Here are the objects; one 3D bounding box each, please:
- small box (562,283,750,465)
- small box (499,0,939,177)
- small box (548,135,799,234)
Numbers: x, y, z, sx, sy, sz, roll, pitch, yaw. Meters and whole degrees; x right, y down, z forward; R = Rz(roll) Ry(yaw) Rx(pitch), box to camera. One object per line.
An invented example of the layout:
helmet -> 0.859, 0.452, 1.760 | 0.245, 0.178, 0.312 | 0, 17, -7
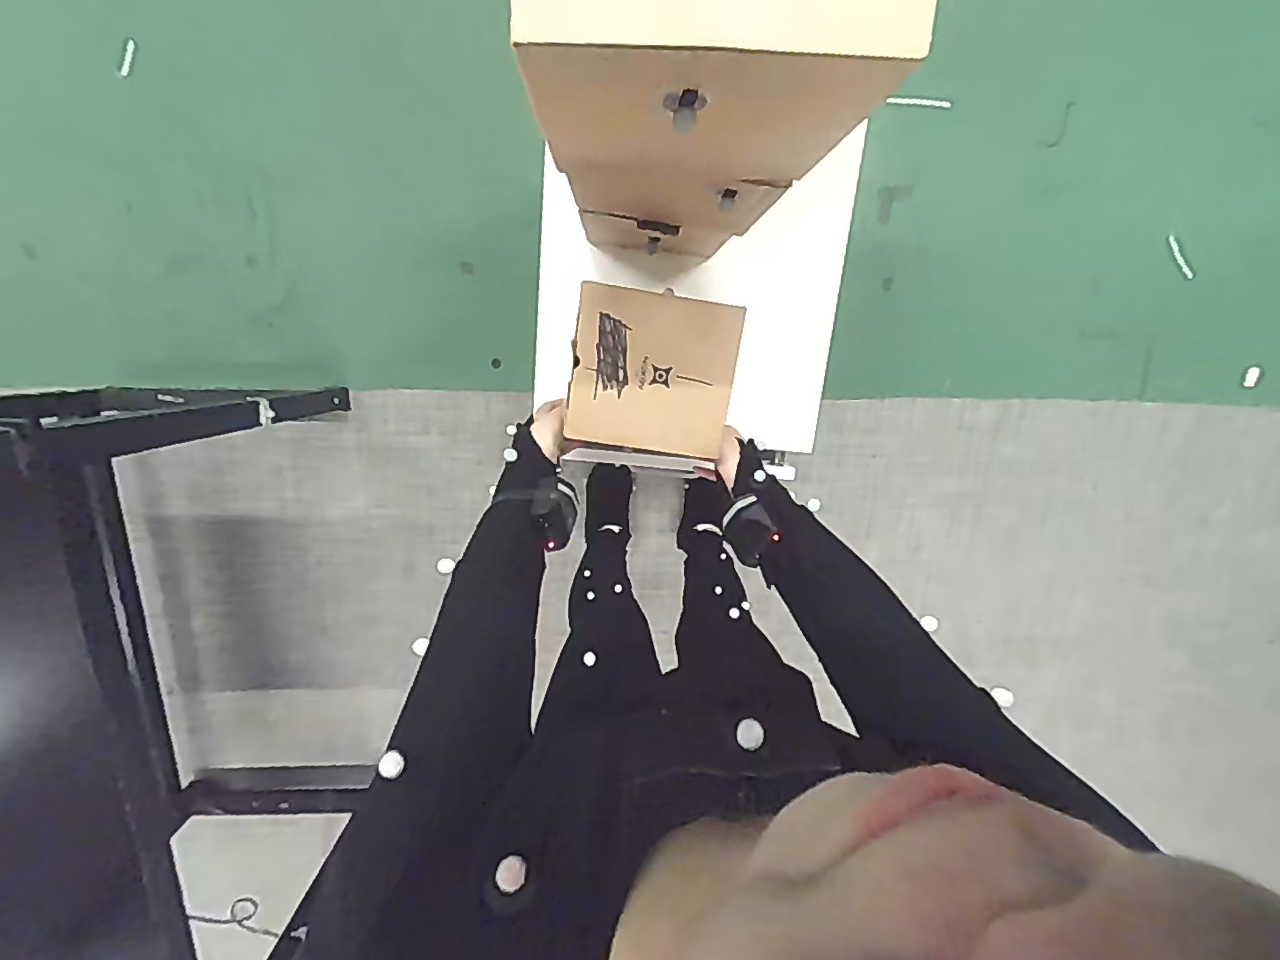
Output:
small box -> 0.013, -0.123, 0.641 | 0.179, 0.176, 0.168 | 8, 102, -4
small box -> 0.031, -0.269, 0.275 | 0.179, 0.176, 0.168 | 0, 104, -2
small box -> 0.032, -0.311, 0.433 | 0.179, 0.176, 0.168 | 8, 102, -4
